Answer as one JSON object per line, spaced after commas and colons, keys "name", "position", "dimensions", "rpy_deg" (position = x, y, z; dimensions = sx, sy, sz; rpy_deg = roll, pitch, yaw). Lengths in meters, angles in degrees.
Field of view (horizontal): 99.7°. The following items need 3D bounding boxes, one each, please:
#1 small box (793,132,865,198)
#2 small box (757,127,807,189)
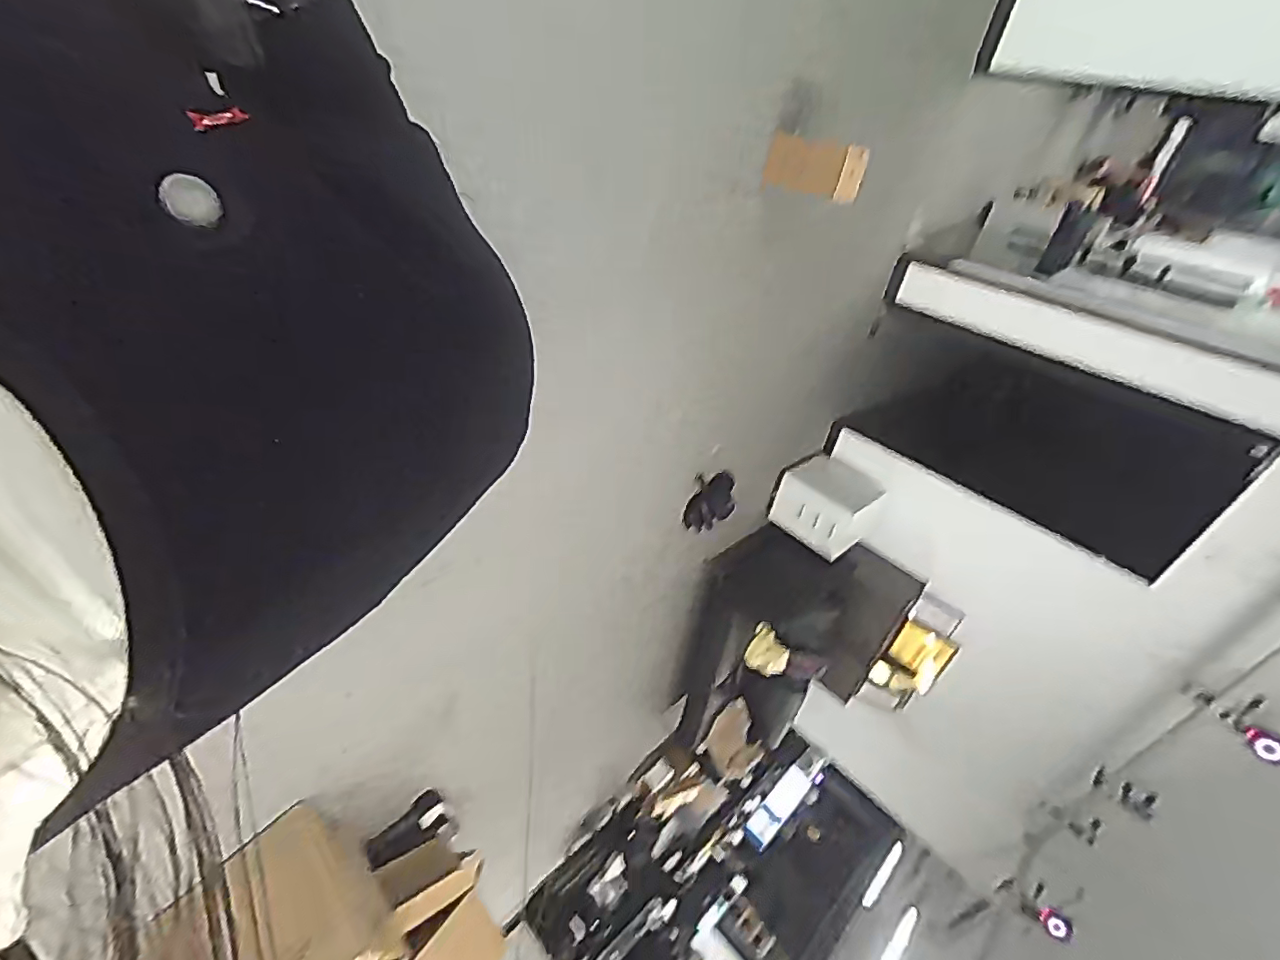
{"name": "small box", "position": [0.698, -1.174, 2.015], "dimensions": [0.168, 0.176, 0.179], "rpy_deg": [-21, 136, -40]}
{"name": "small box", "position": [0.580, -1.251, 2.101], "dimensions": [0.168, 0.176, 0.179], "rpy_deg": [-24, 139, -38]}
